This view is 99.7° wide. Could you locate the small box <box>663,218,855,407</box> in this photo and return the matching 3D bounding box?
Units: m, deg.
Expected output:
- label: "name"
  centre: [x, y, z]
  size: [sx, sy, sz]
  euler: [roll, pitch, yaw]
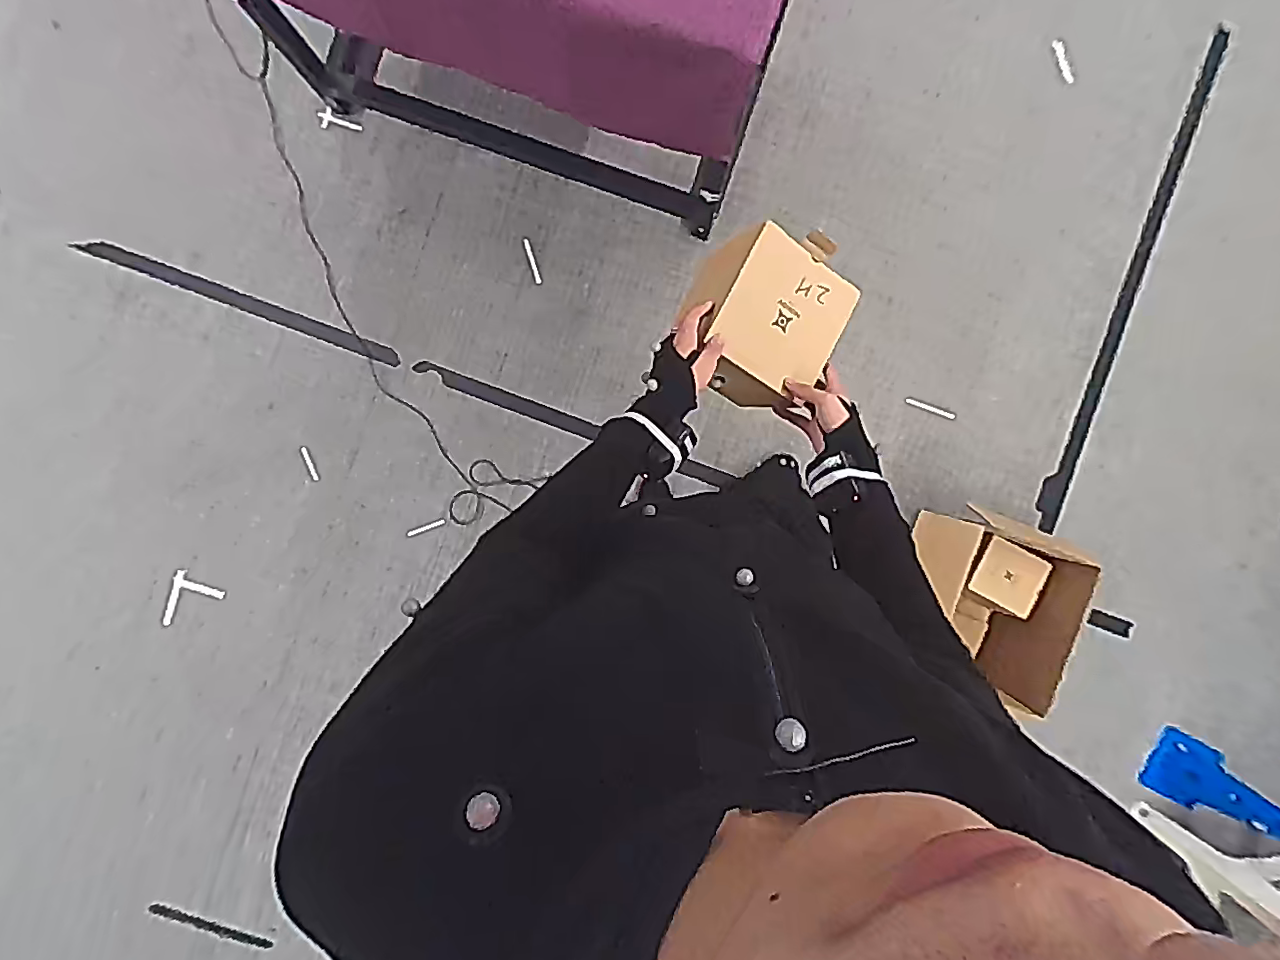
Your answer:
- label: "small box"
  centre: [0.150, -0.214, 0.748]
  size: [0.168, 0.176, 0.179]
  euler: [27, 88, -20]
